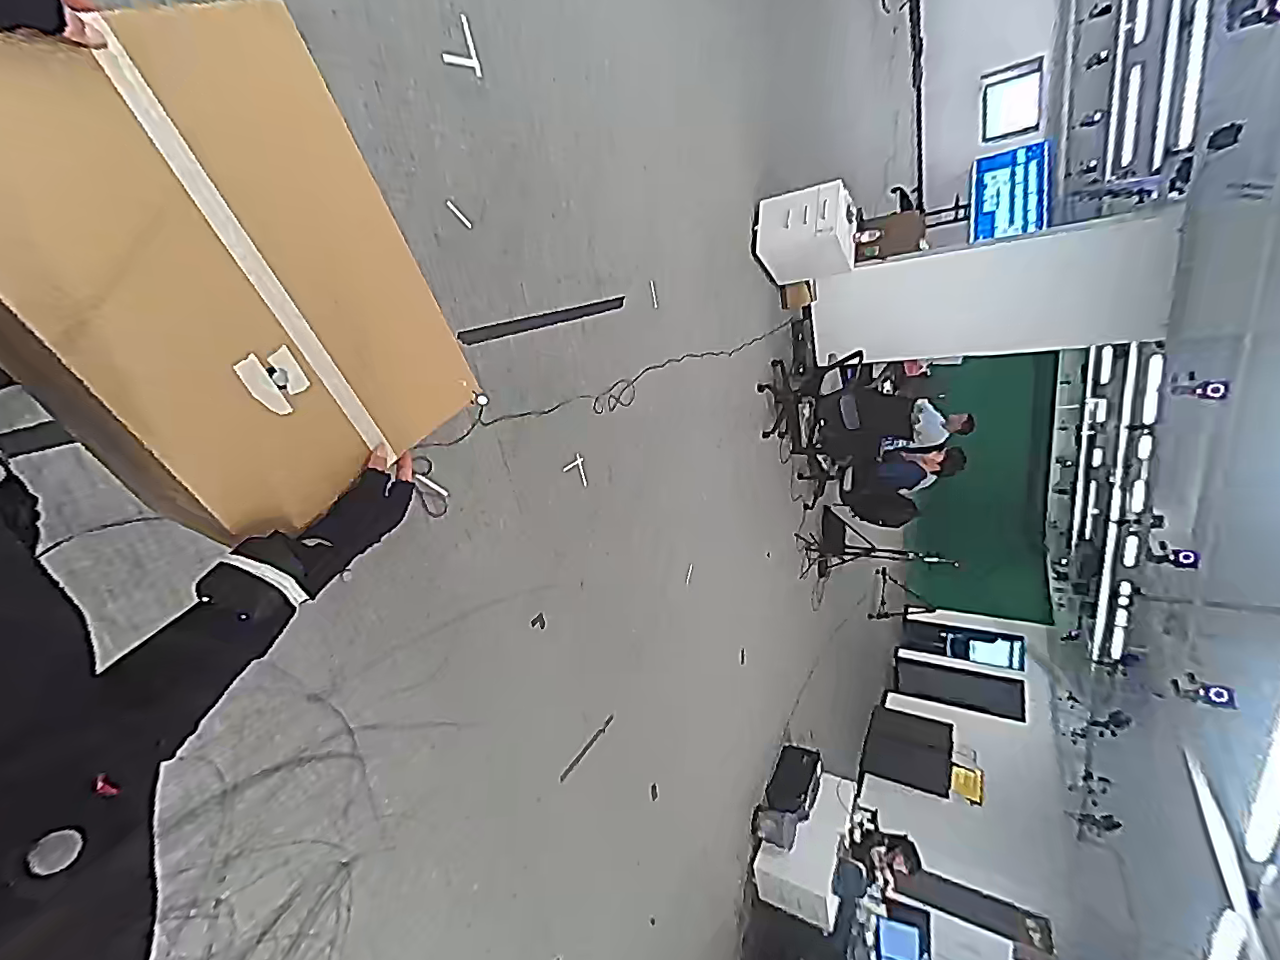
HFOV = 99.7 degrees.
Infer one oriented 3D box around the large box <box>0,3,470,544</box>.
[{"bbox_3d":[-0.474,-0.198,0.585,0.320,0.320,0.408,-51,137,-37],"label":"large box"}]
